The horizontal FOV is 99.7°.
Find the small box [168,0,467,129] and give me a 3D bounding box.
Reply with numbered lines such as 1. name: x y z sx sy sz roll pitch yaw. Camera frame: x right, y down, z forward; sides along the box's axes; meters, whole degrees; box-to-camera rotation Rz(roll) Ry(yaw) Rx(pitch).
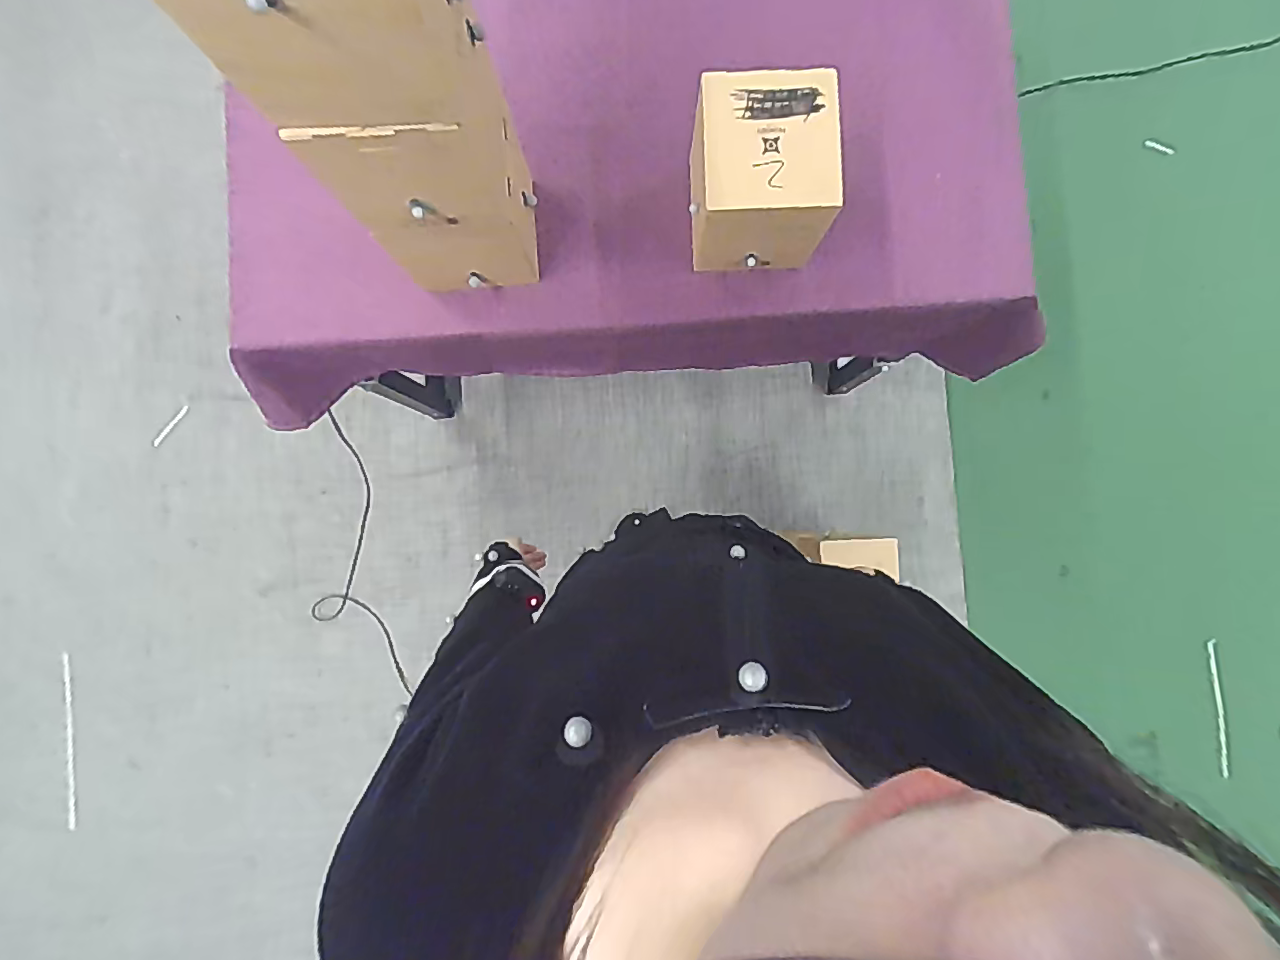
1. small box: -0.245 -0.399 0.409 0.179 0.176 0.168 -2 86 -1

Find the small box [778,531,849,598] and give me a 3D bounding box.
1. small box: 0.470 0.221 1.431 0.179 0.176 0.168 0 87 -1

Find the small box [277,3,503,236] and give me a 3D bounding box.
1. small box: -0.249 -0.387 0.573 0.168 0.176 0.179 -4 87 1

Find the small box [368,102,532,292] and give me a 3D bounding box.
1. small box: -0.248 -0.372 0.738 0.179 0.176 0.168 -5 86 -1

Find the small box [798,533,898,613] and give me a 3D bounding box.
1. small box: 0.478 0.213 1.268 0.179 0.176 0.168 -2 88 -1
